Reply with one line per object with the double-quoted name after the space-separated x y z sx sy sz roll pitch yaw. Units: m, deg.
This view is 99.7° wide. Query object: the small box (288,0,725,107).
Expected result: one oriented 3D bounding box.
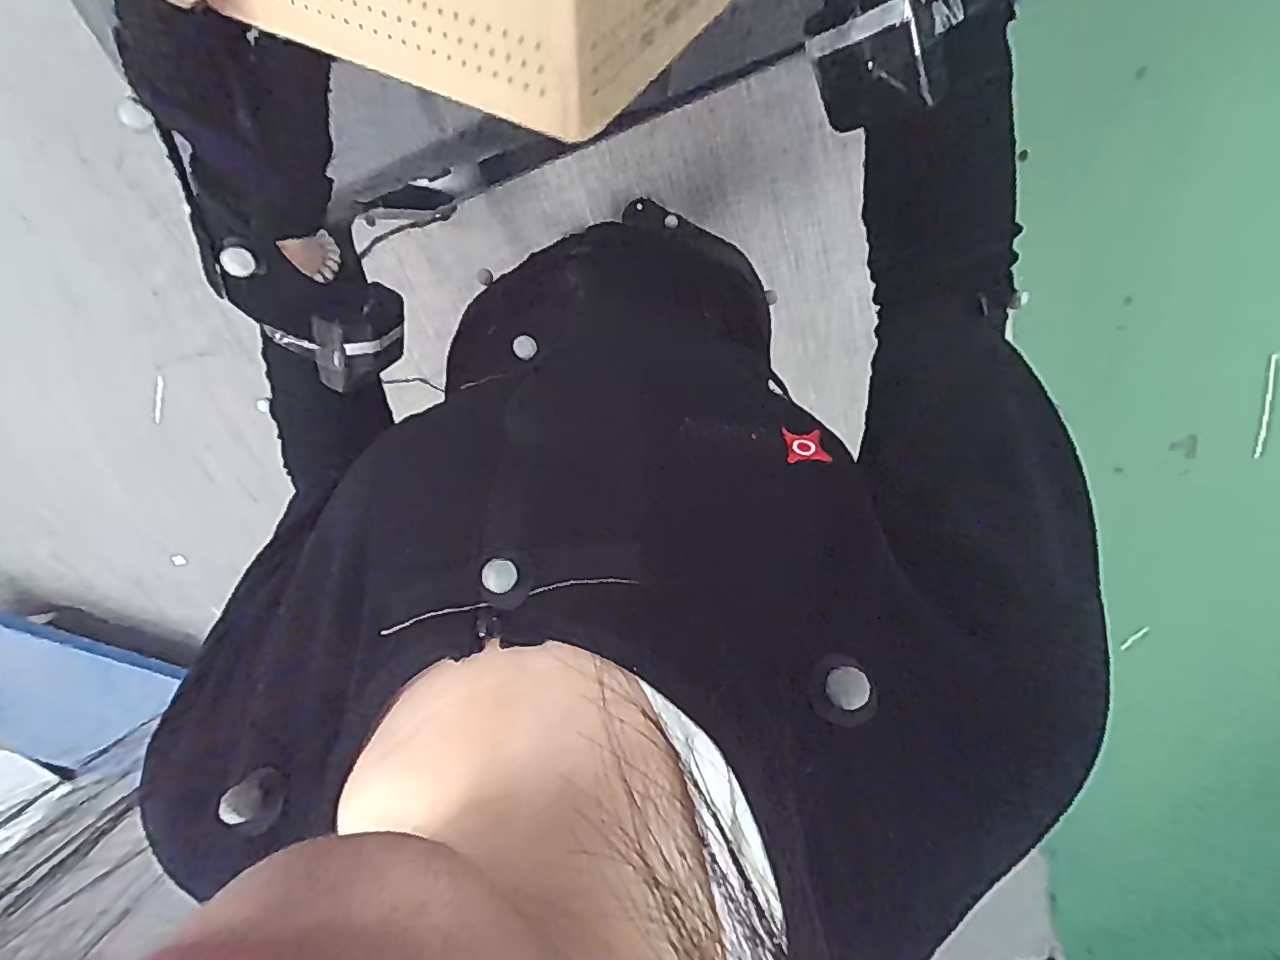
-0.050 -0.260 0.169 0.179 0.168 0.176 27 157 9 "small box"
